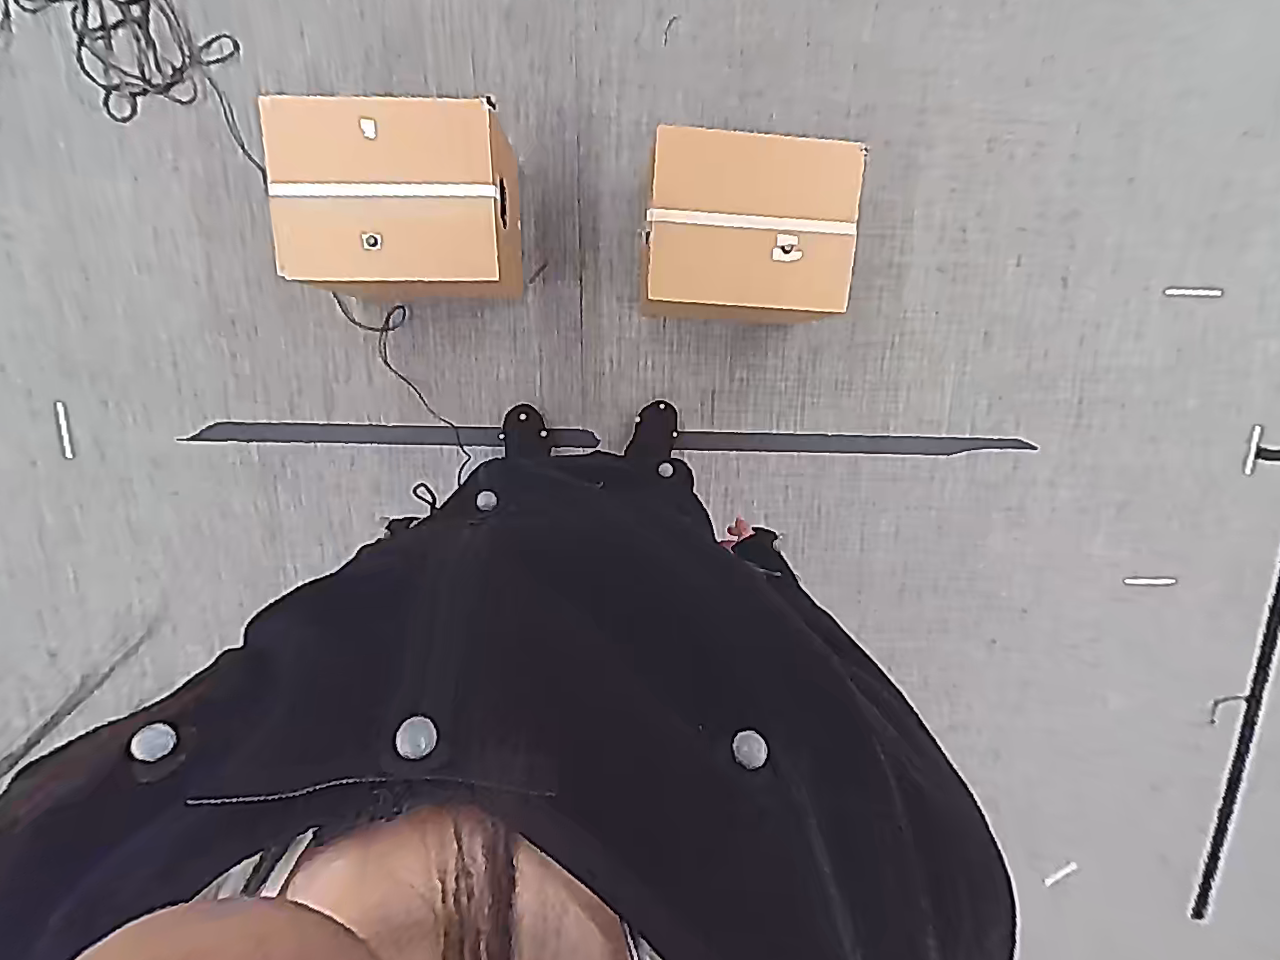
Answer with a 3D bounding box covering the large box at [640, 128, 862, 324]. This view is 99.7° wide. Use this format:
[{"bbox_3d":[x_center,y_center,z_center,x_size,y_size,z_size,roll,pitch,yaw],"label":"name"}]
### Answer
[{"bbox_3d":[0.212,-0.529,1.198,0.408,0.320,0.320,3,101,-5],"label":"large box"}]
